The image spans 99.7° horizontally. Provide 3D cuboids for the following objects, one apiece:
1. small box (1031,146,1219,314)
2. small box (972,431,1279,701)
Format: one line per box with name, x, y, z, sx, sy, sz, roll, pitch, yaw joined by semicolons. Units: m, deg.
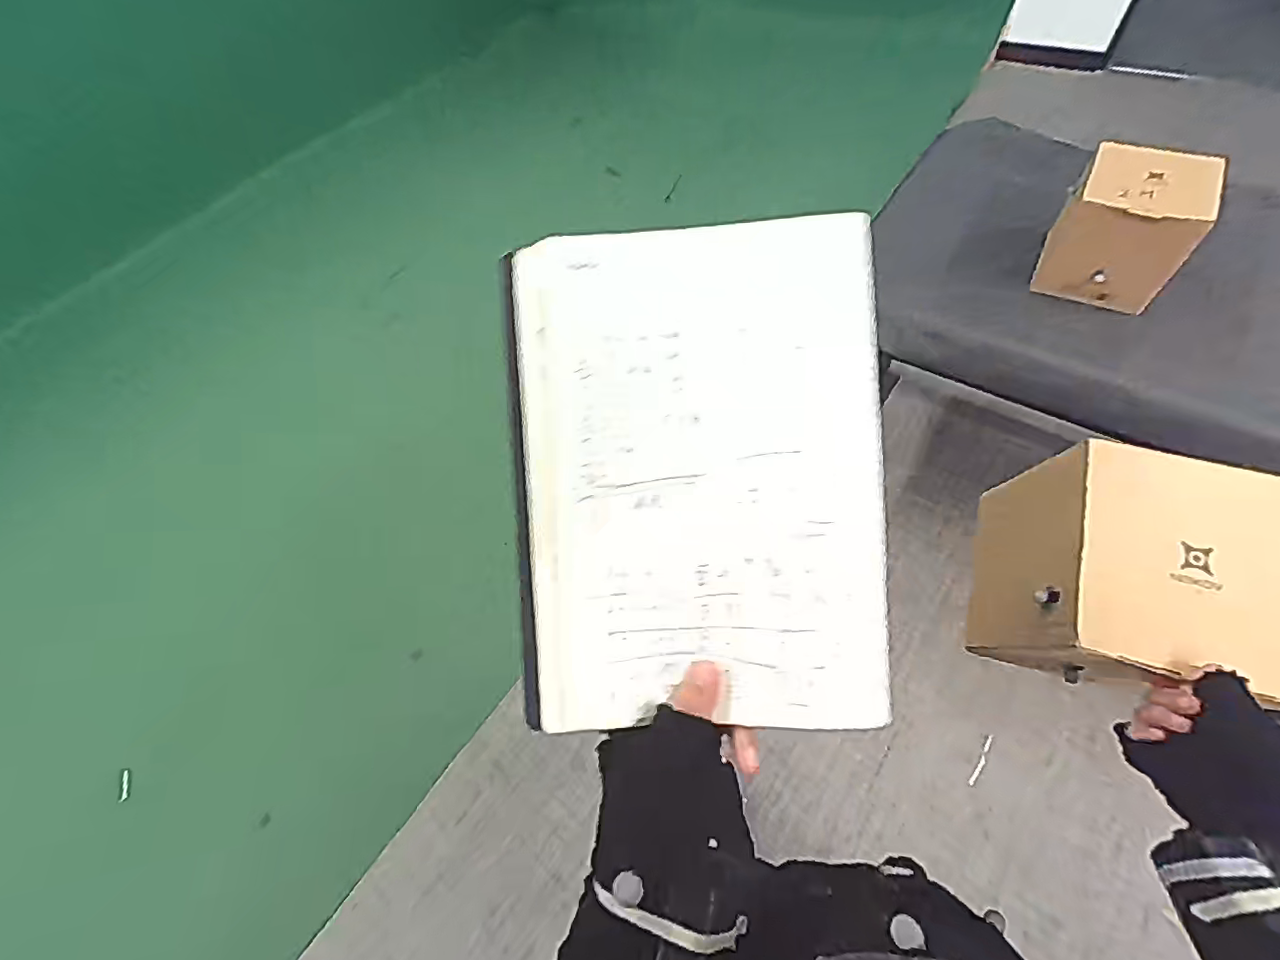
small box;0.785;-0.409;0.890;0.168;0.176;0.179;24;65;22
small box;0.432;0.082;0.489;0.168;0.176;0.179;14;75;8
